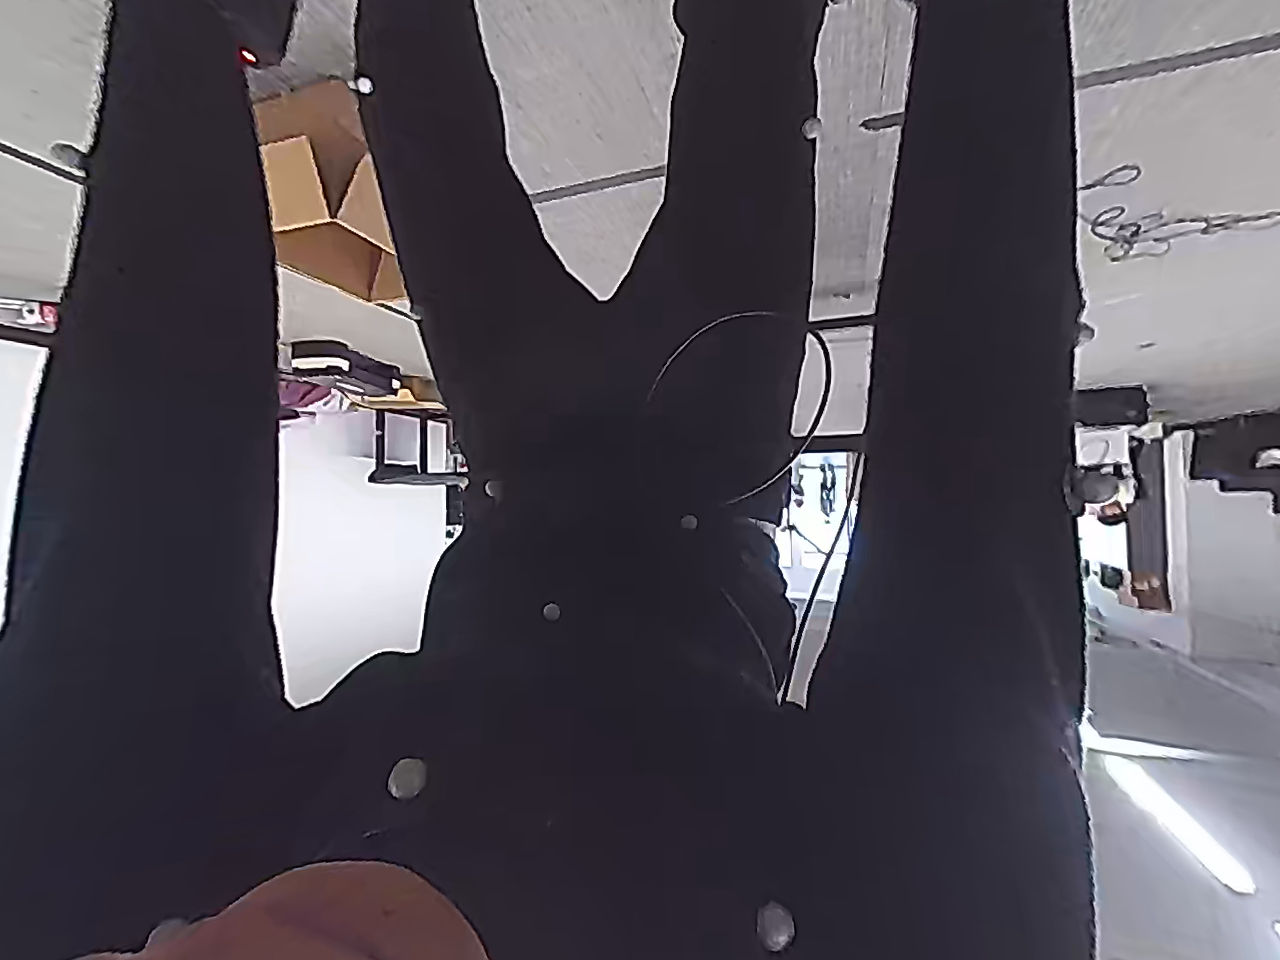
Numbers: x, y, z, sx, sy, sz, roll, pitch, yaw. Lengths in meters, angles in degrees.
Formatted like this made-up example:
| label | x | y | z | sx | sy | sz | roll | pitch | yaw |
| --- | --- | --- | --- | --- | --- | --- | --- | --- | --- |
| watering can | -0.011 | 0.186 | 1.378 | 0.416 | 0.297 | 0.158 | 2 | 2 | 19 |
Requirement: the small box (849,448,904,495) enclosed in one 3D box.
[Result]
| label | x | y | z | sx | sy | sz | roll | pitch | yaw |
| --- | --- | --- | --- | --- | --- | --- | --- | --- | --- |
| small box | 0.873 | -0.029 | 2.007 | 0.168 | 0.176 | 0.179 | -2 | 178 | 15 |

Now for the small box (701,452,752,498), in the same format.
| label | x | y | z | sx | sy | sz | roll | pitch | yaw |
| --- | --- | --- | --- | --- | --- | --- | --- | --- | --- |
| small box | 0.339 | -0.017 | 2.107 | 0.179 | 0.176 | 0.168 | -3 | 179 | 18 |
